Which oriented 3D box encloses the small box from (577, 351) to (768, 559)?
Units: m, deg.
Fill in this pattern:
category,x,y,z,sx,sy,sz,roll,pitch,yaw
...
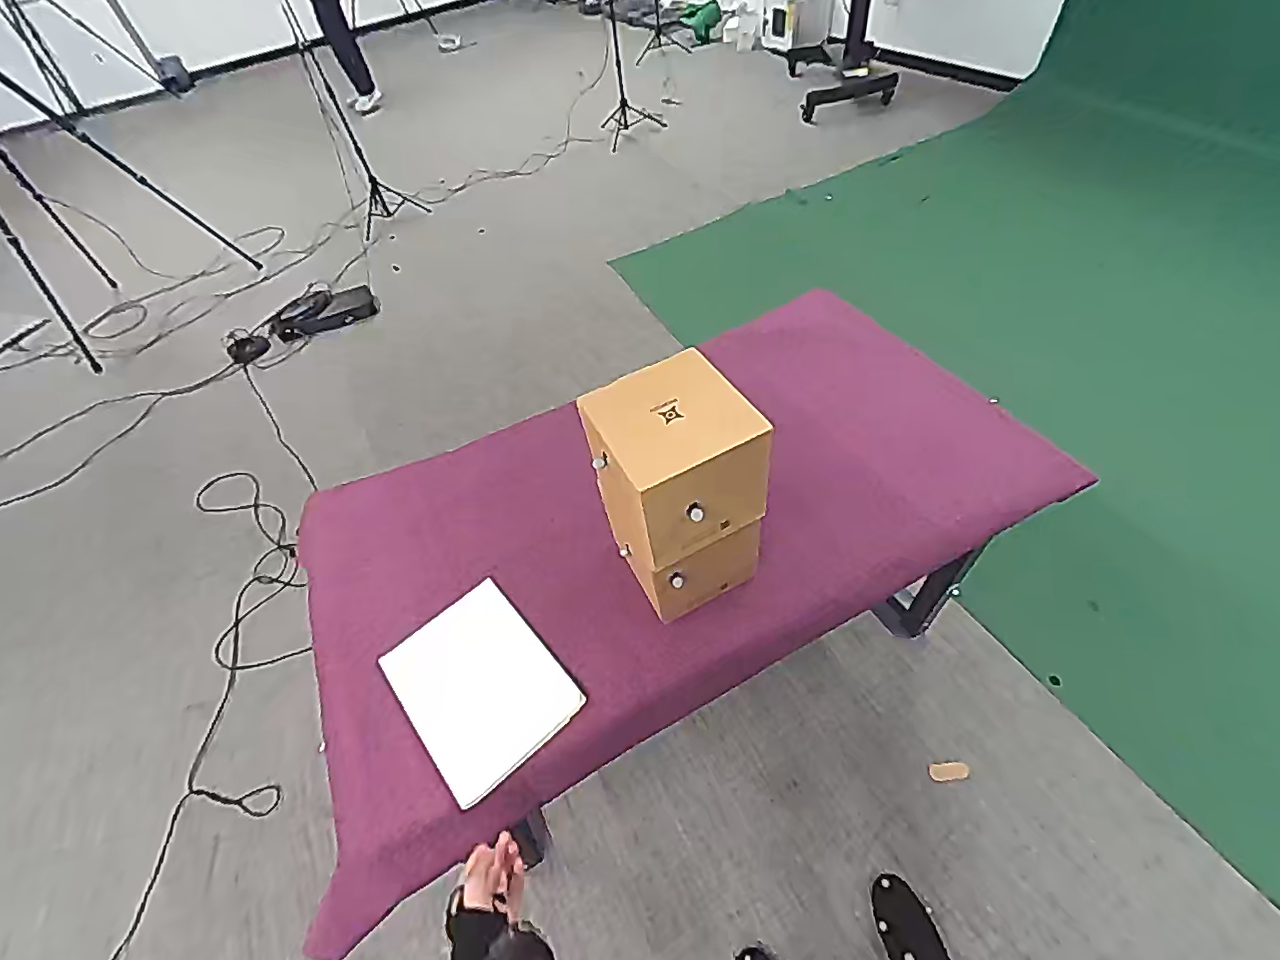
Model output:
category,x,y,z,sx,sy,sz,roll,pitch,yaw
small box,0.042,-0.024,0.677,0.168,0.176,0.179,-25,51,-11
